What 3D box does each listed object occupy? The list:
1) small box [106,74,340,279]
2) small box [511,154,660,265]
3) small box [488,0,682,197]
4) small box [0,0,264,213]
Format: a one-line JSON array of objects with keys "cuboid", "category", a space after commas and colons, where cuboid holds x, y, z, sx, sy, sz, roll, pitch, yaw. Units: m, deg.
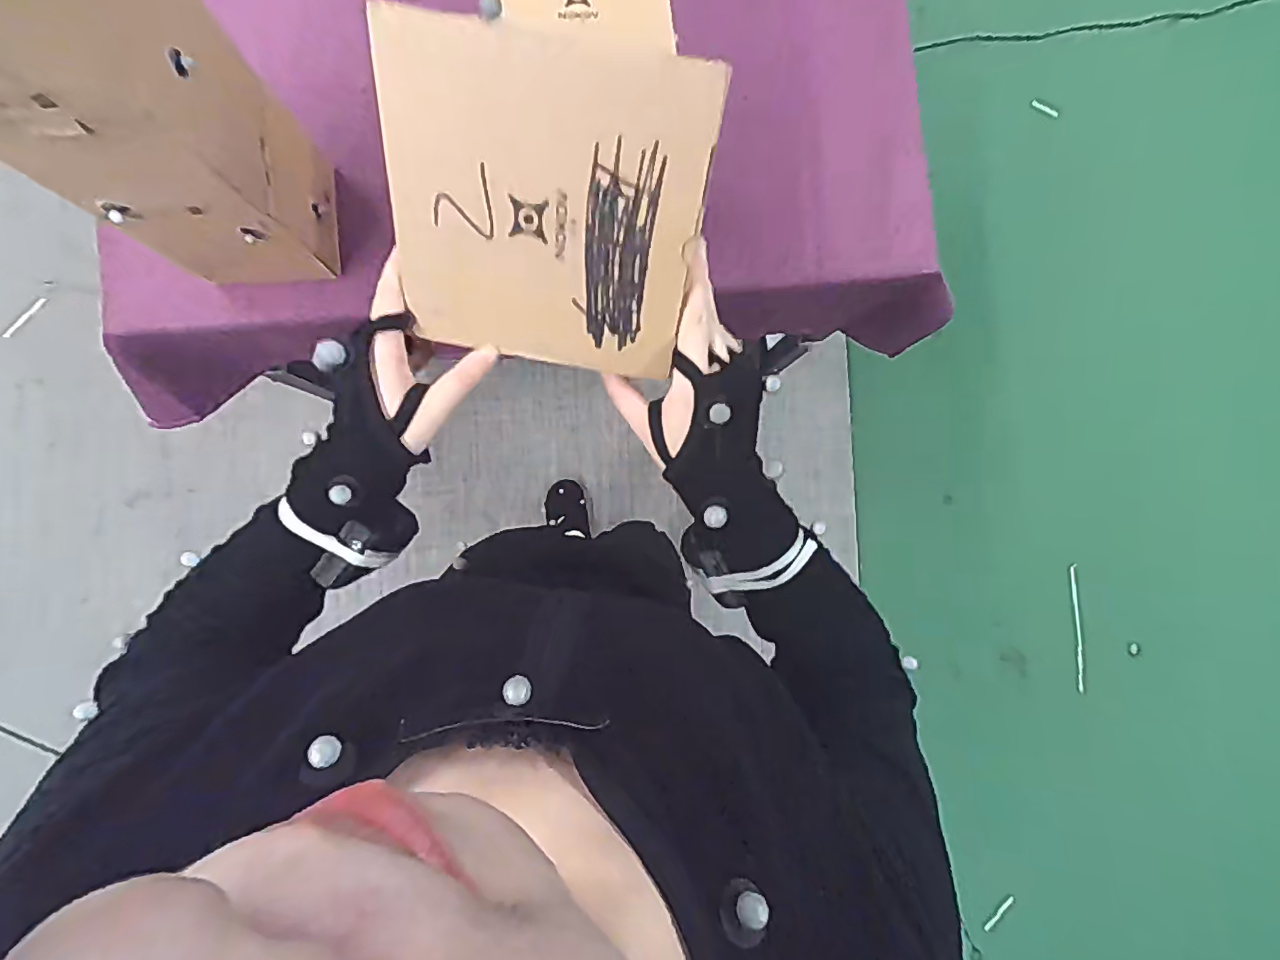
[{"cuboid": [-0.509, -0.366, 0.679, 0.179, 0.176, 0.168, -5, 88, -6], "category": "small box"}, {"cuboid": [-0.071, -0.400, 0.716, 0.179, 0.176, 0.168, -3, 88, -5], "category": "small box"}, {"cuboid": [-0.056, -0.413, 0.554, 0.168, 0.176, 0.179, -6, 87, -6], "category": "small box"}, {"cuboid": [-0.493, -0.376, 0.516, 0.168, 0.176, 0.179, -5, 86, -6], "category": "small box"}]
